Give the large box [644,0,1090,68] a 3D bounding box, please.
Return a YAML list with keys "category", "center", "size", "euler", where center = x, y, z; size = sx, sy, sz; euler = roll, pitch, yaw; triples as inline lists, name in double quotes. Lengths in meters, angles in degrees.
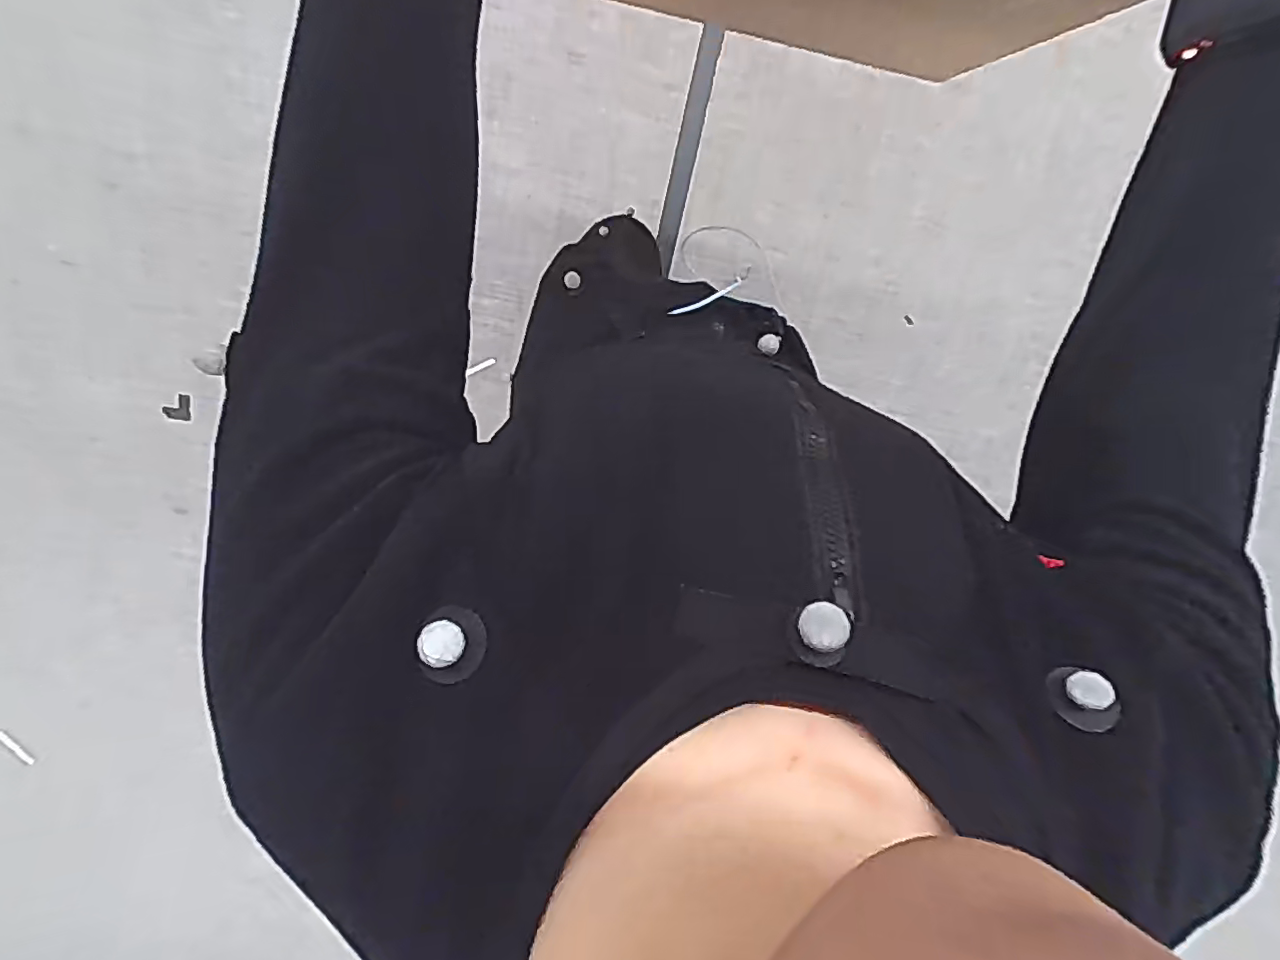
- category: "large box"
  center: [0.166, -0.549, 0.382]
  size: [0.408, 0.320, 0.320]
  euler: [10, 118, -5]
